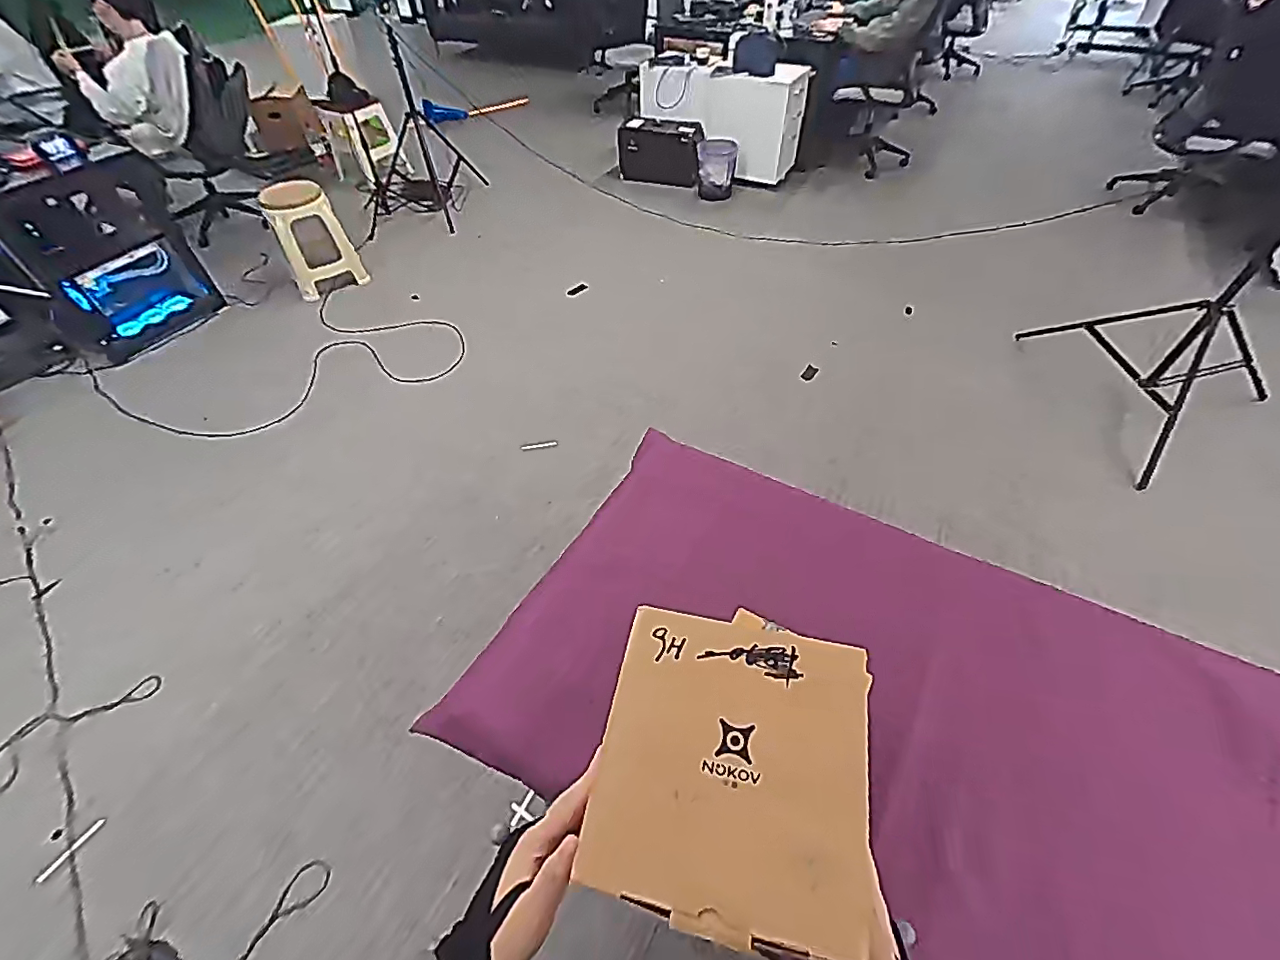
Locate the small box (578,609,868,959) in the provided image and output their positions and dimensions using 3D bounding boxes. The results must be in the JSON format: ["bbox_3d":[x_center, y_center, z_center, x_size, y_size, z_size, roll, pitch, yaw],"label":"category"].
[{"bbox_3d":[0.067,0.225,0.413,0.168,0.176,0.179,9,55,11],"label":"small box"}]
